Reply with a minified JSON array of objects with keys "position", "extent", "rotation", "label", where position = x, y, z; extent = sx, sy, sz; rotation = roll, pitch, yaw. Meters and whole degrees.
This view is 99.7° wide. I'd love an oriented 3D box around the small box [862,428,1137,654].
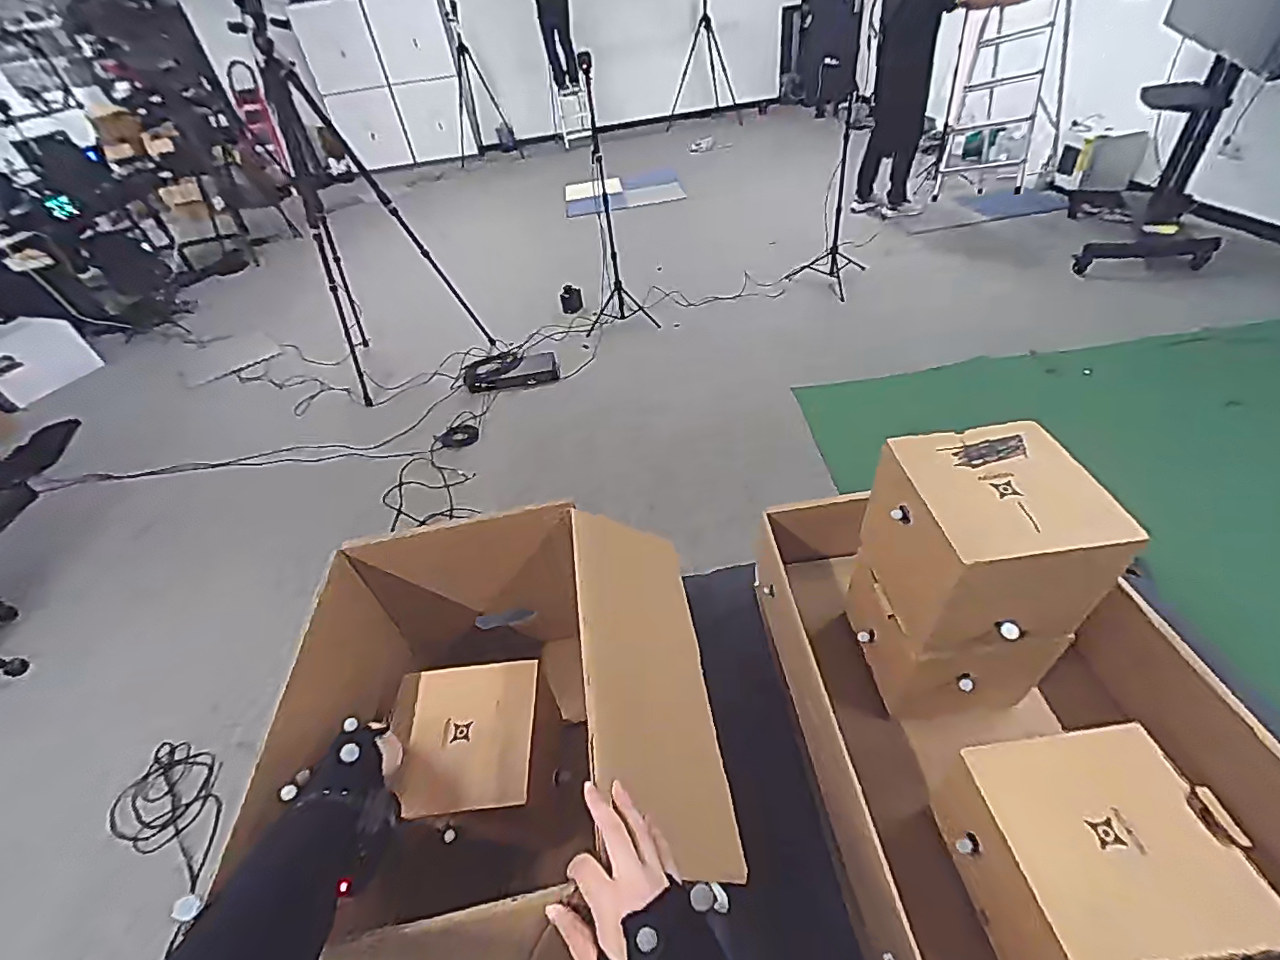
[{"position":[0.366,0.068,0.599],"extent":[0.168,0.176,0.179],"rotation":[-7,45,1],"label":"small box"}]
